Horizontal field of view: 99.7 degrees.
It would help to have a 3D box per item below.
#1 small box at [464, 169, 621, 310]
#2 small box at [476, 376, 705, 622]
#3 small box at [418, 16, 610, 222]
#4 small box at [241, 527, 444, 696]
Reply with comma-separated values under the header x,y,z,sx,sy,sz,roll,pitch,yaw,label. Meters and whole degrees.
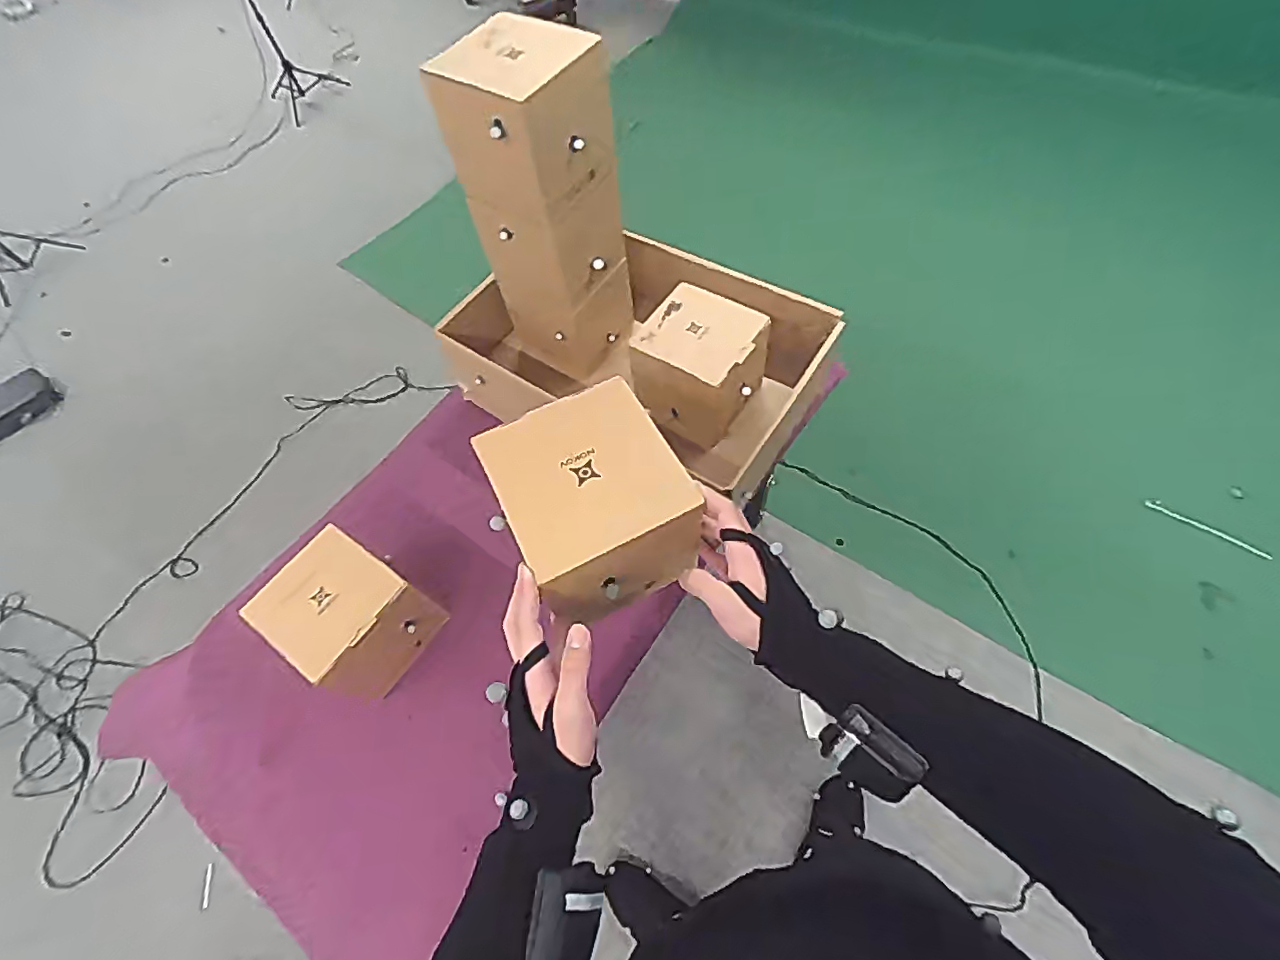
x,y,z,sx,sy,sz,roll,pitch,yaw,label
-0.150,-0.415,0.897,0.179,0.176,0.168,29,68,18,small box
-0.045,0.031,0.571,0.168,0.176,0.179,-26,61,-11,small box
-0.159,-0.492,0.751,0.179,0.176,0.168,30,68,19,small box
-0.436,0.206,0.823,0.179,0.176,0.168,30,66,20,small box
